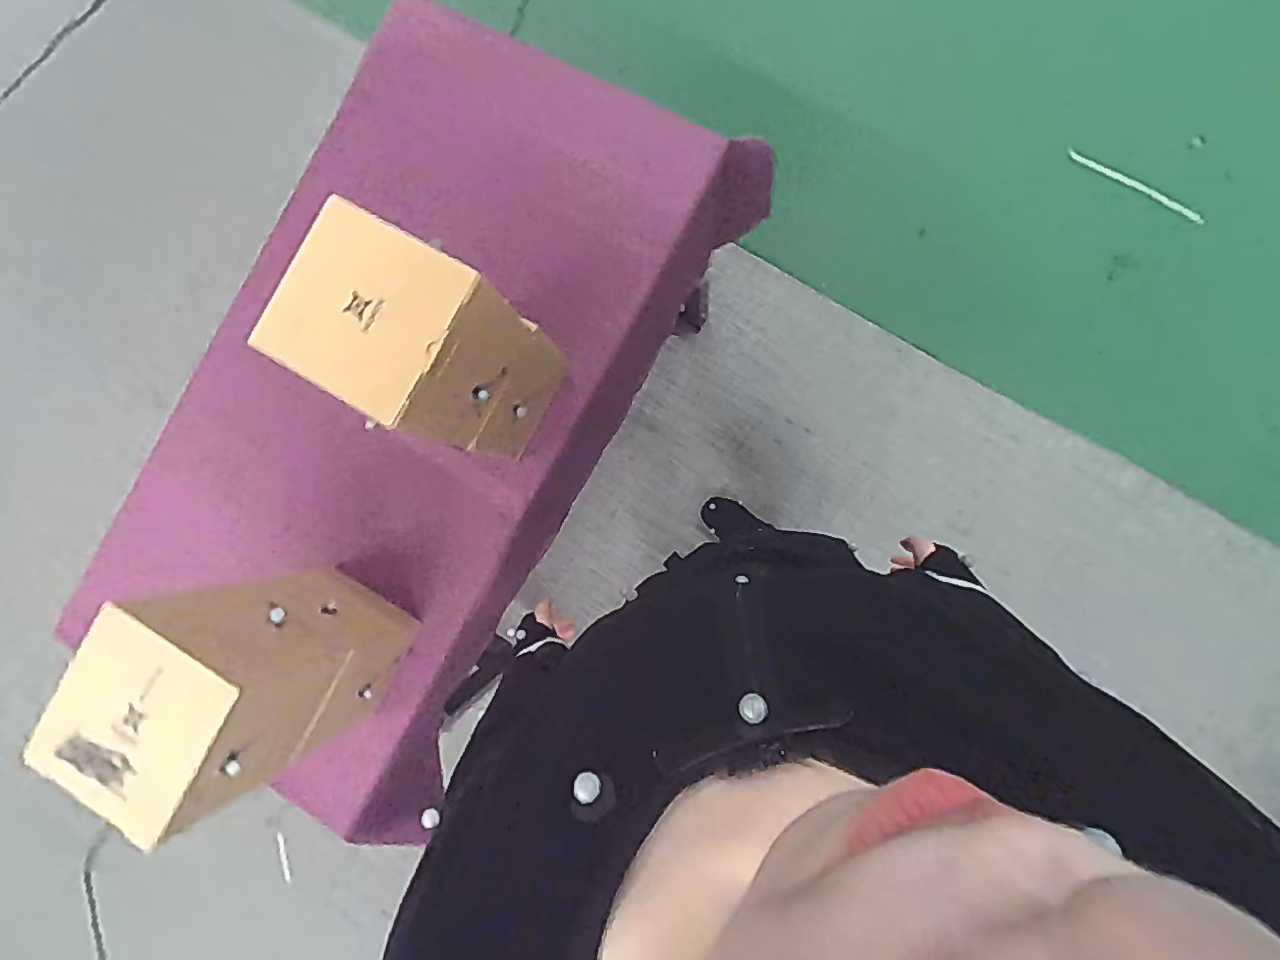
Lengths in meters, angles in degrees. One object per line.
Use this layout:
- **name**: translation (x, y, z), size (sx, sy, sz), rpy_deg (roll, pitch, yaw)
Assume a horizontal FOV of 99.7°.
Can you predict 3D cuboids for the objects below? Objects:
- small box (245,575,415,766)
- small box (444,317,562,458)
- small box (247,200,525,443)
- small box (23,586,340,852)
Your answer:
- **small box**: translation (-0.453, 0.245, 0.749), size (0.179, 0.176, 0.168), rpy_deg (29, 89, 8)
- **small box**: translation (-0.229, -0.143, 0.748), size (0.168, 0.176, 0.179), rpy_deg (28, 91, 7)
- **small box**: translation (-0.255, -0.154, 0.587), size (0.179, 0.176, 0.168), rpy_deg (30, 89, 7)
- **small box**: translation (-0.471, 0.235, 0.585), size (0.168, 0.176, 0.179), rpy_deg (29, 89, 7)
